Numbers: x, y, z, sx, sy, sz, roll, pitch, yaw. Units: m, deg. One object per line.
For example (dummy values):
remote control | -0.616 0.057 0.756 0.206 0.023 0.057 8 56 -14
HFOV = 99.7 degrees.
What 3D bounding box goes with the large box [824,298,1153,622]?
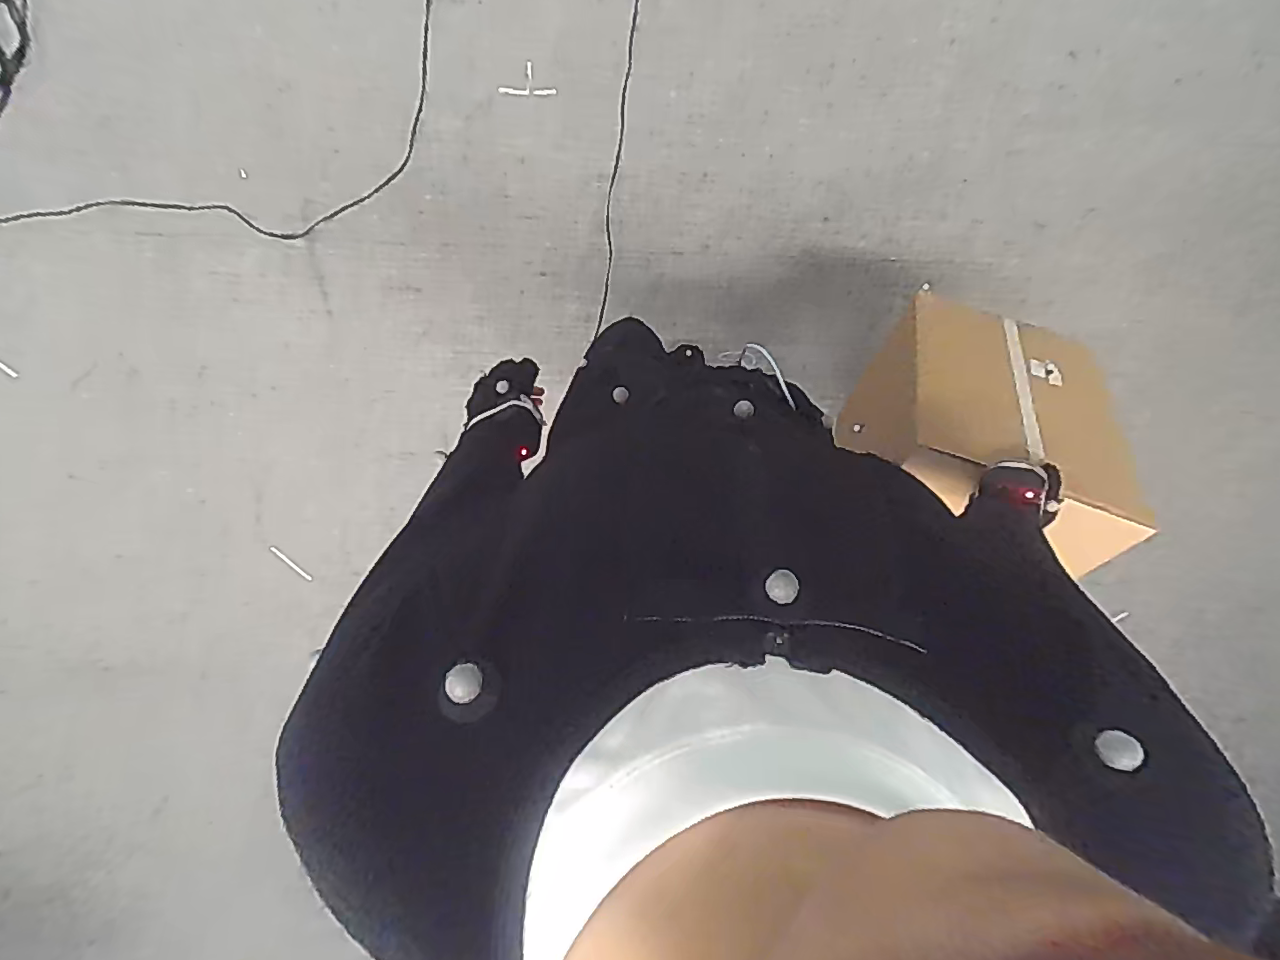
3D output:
large box | 0.534 -0.036 0.923 0.320 0.408 0.320 21 141 3
